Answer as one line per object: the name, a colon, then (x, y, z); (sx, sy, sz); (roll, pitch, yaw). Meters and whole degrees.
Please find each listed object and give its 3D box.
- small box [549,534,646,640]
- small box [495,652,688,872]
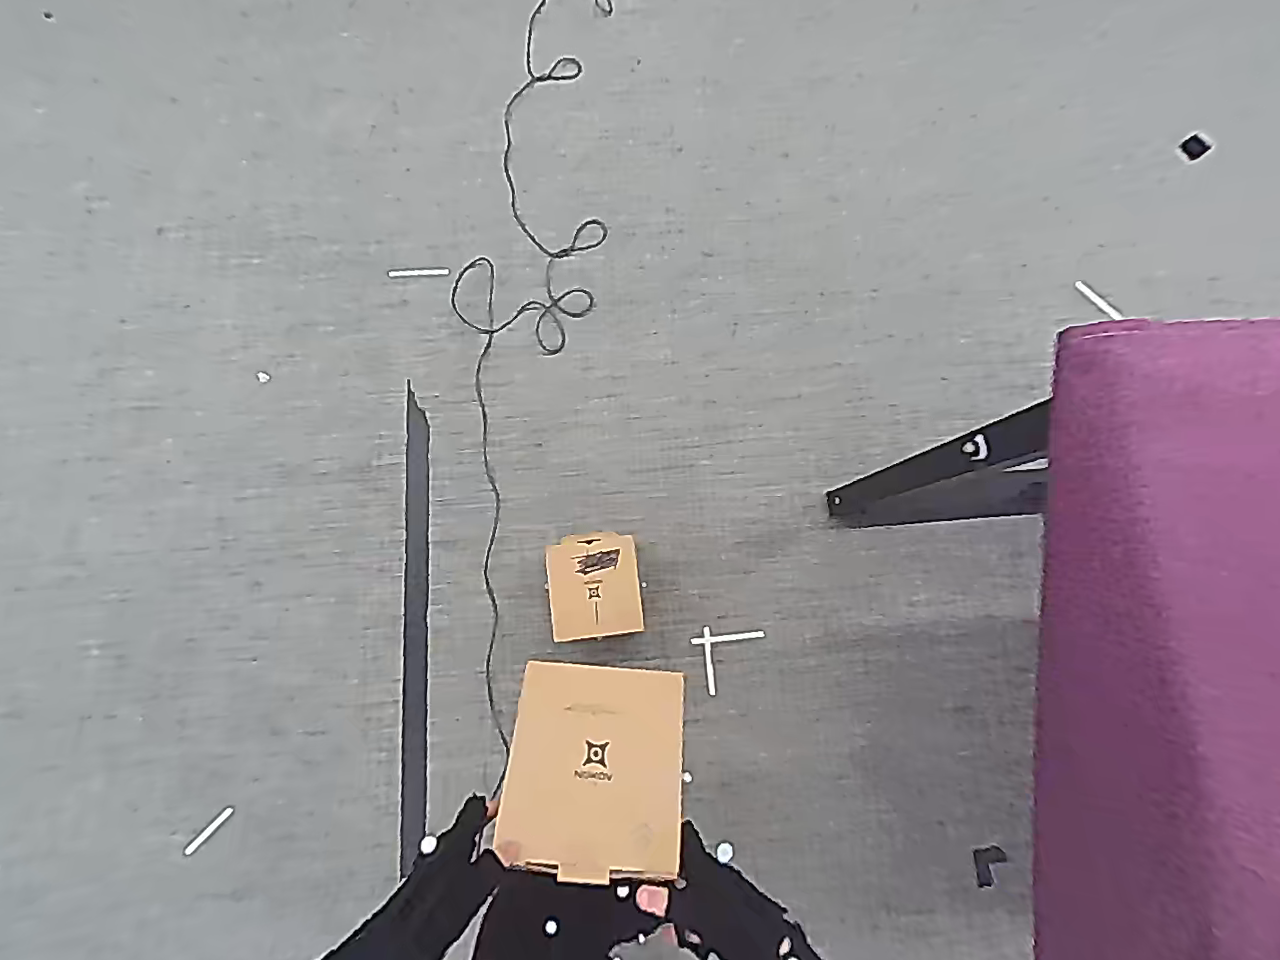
small box: (-0.081, 0.207, 1.053); (0.168, 0.176, 0.179); (-6, 80, -3)
small box: (-0.042, 0.303, 0.575); (0.168, 0.176, 0.179); (6, 54, -1)
